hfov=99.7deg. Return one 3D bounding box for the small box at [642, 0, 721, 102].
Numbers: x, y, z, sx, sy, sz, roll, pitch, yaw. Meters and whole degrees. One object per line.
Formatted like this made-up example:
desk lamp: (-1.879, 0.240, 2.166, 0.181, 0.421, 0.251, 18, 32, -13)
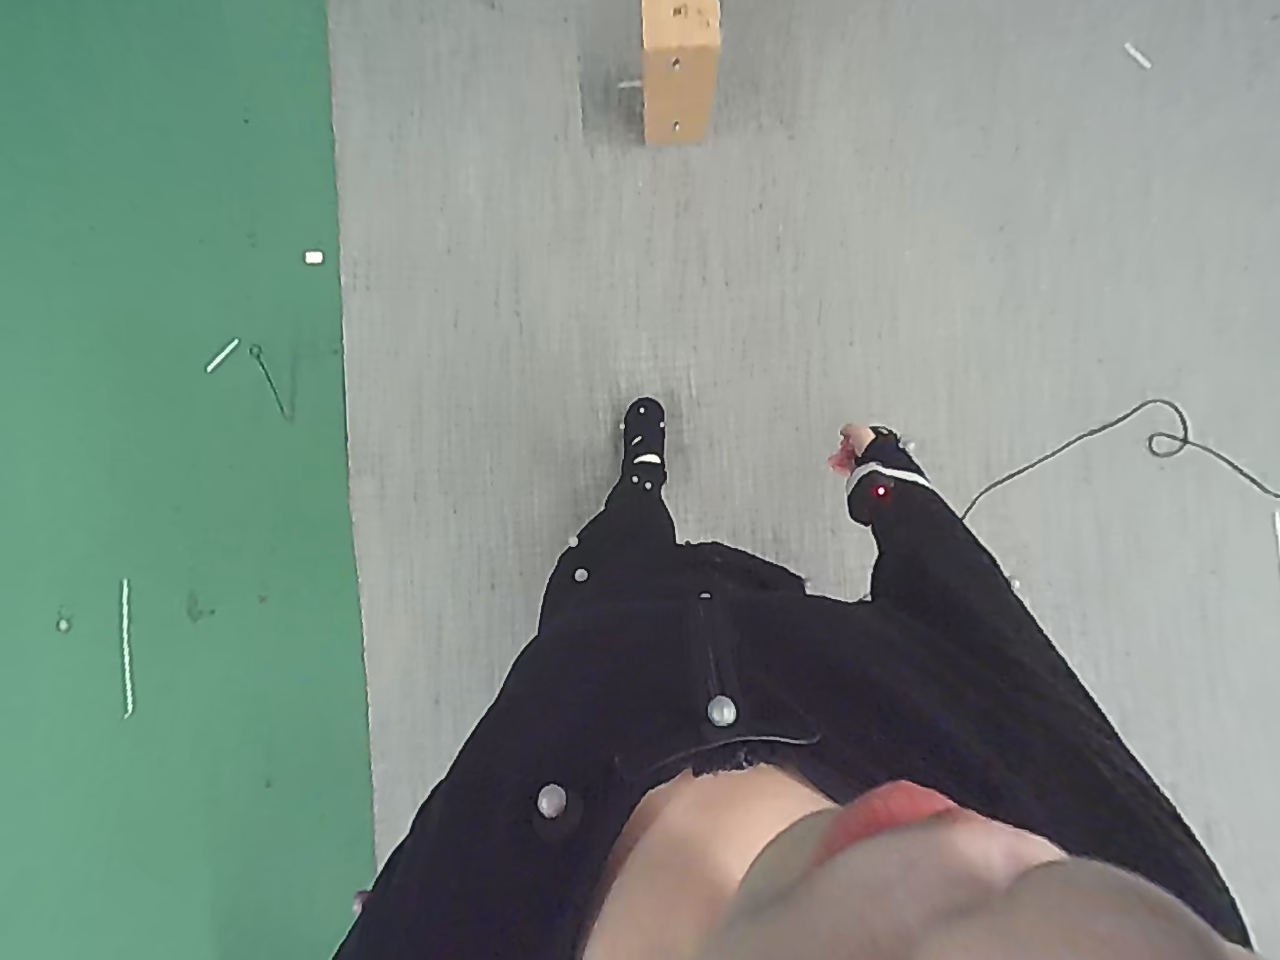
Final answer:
small box: (0.097, -1.037, 1.286, 0.179, 0.176, 0.168, -2, 88, 1)
